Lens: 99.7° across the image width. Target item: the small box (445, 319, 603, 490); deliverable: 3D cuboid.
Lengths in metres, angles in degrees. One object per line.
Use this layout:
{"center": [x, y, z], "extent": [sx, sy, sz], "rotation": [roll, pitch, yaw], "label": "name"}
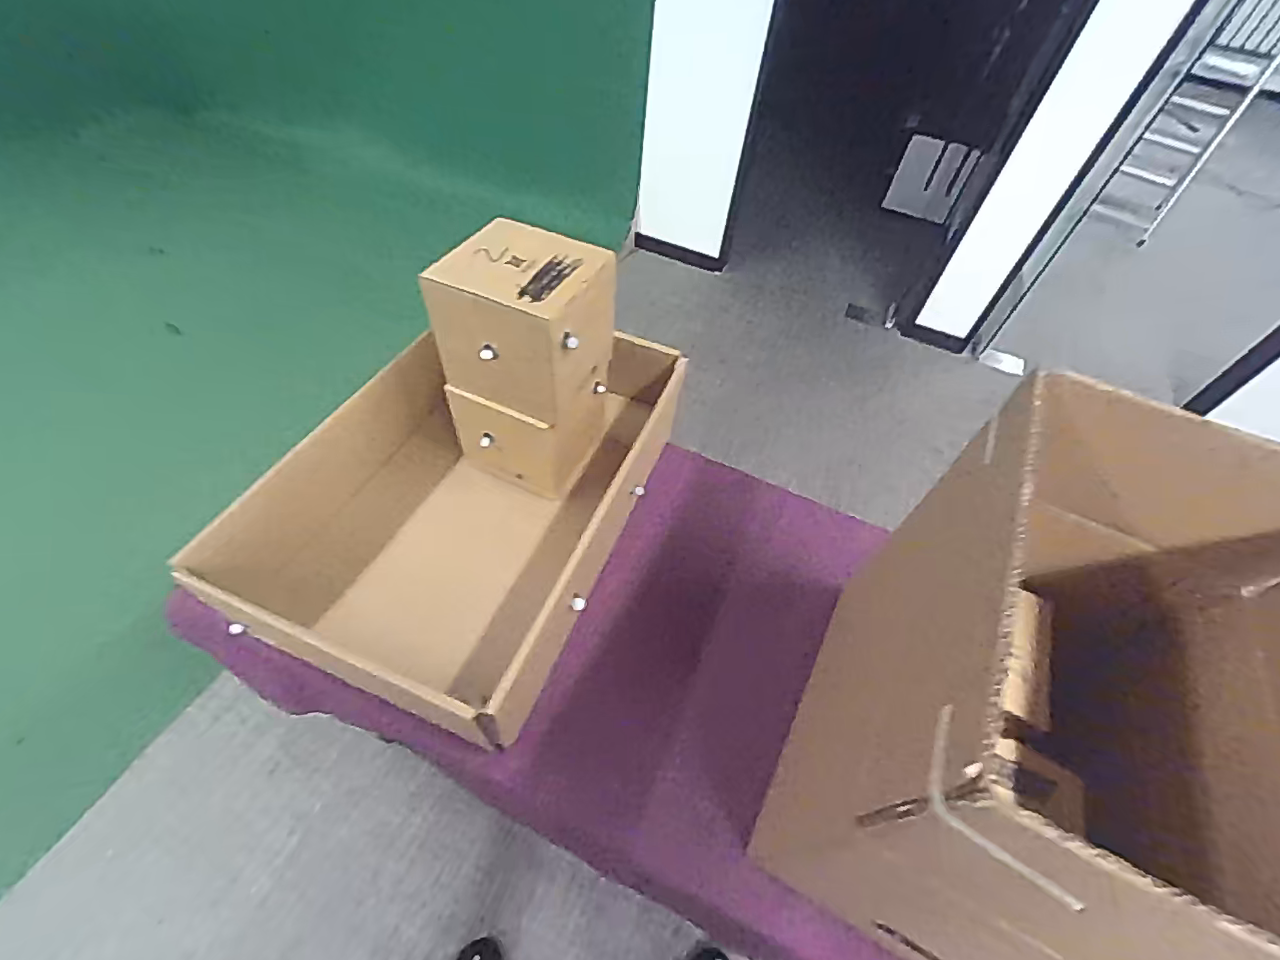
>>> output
{"center": [-0.166, -0.113, 0.840], "extent": [0.168, 0.176, 0.179], "rotation": [22, 54, 12], "label": "small box"}
